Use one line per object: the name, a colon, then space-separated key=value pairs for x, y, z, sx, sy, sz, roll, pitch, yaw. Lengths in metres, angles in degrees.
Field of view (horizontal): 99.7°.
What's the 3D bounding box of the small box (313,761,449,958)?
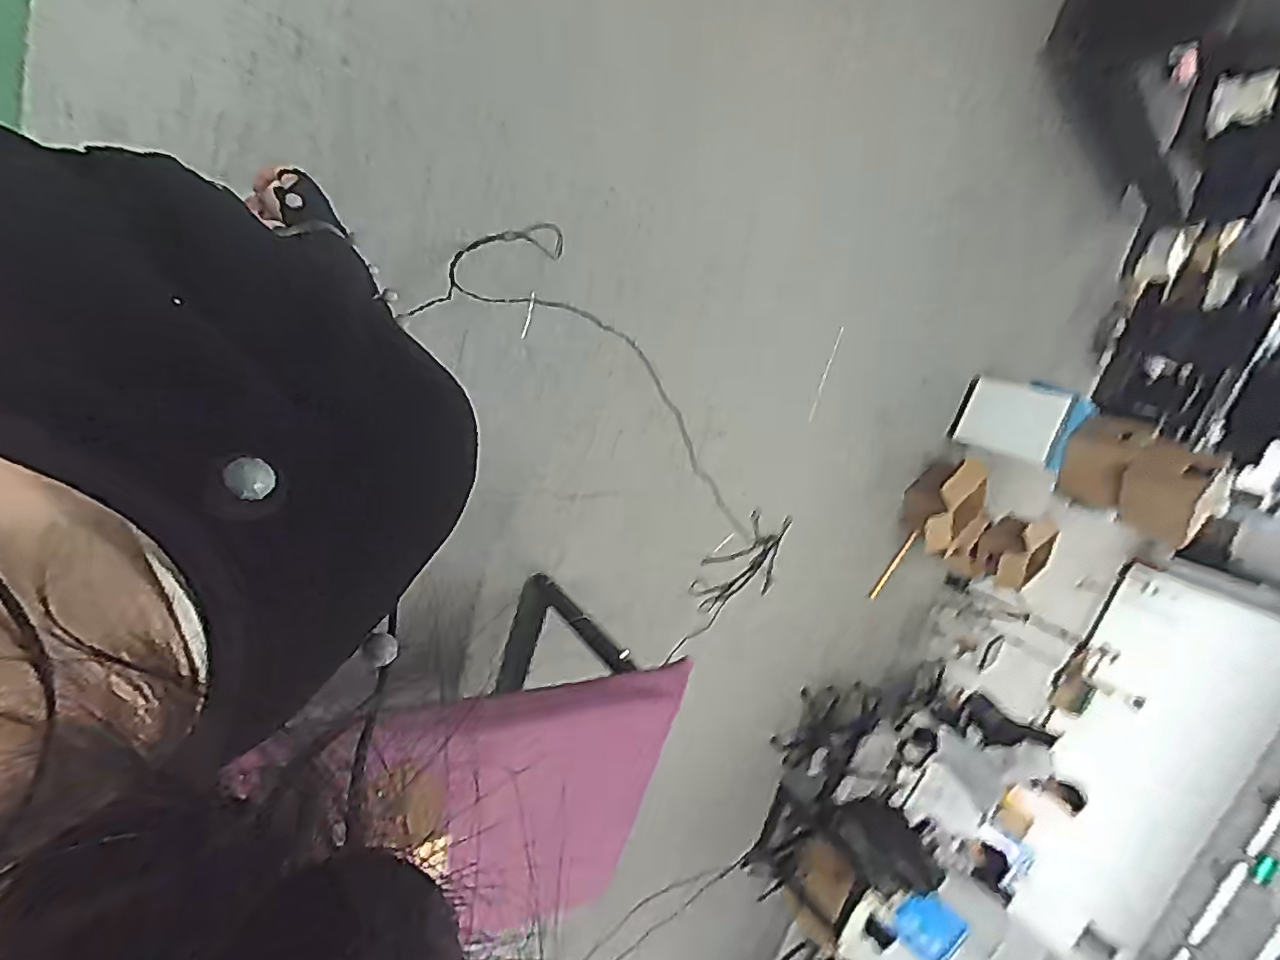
small box: x=-0.435 y=0.615 z=0.900 sx=0.168 sy=0.176 sz=0.179 roll=-1 pitch=111 yaw=-39
